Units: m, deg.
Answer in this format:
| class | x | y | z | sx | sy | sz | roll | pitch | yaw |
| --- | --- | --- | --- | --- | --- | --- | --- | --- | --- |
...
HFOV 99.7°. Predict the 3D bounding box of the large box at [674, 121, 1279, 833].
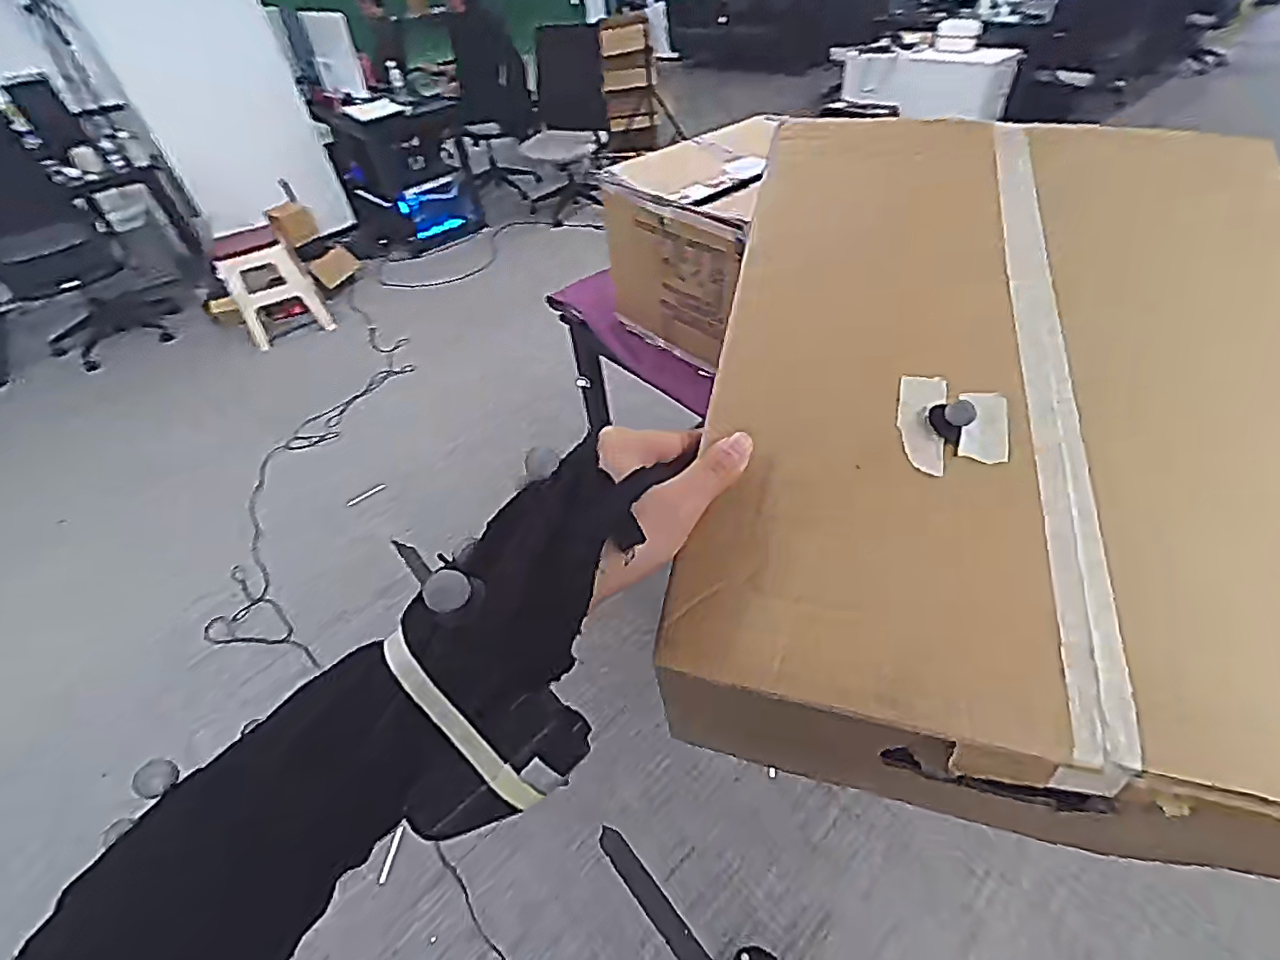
| class | x | y | z | sx | sy | sz | roll | pitch | yaw |
| --- | --- | --- | --- | --- | --- | --- | --- | --- | --- |
| large box | 0.211 | -0.002 | 0.416 | 0.320 | 0.320 | 0.408 | 9 | 61 | 11 |
